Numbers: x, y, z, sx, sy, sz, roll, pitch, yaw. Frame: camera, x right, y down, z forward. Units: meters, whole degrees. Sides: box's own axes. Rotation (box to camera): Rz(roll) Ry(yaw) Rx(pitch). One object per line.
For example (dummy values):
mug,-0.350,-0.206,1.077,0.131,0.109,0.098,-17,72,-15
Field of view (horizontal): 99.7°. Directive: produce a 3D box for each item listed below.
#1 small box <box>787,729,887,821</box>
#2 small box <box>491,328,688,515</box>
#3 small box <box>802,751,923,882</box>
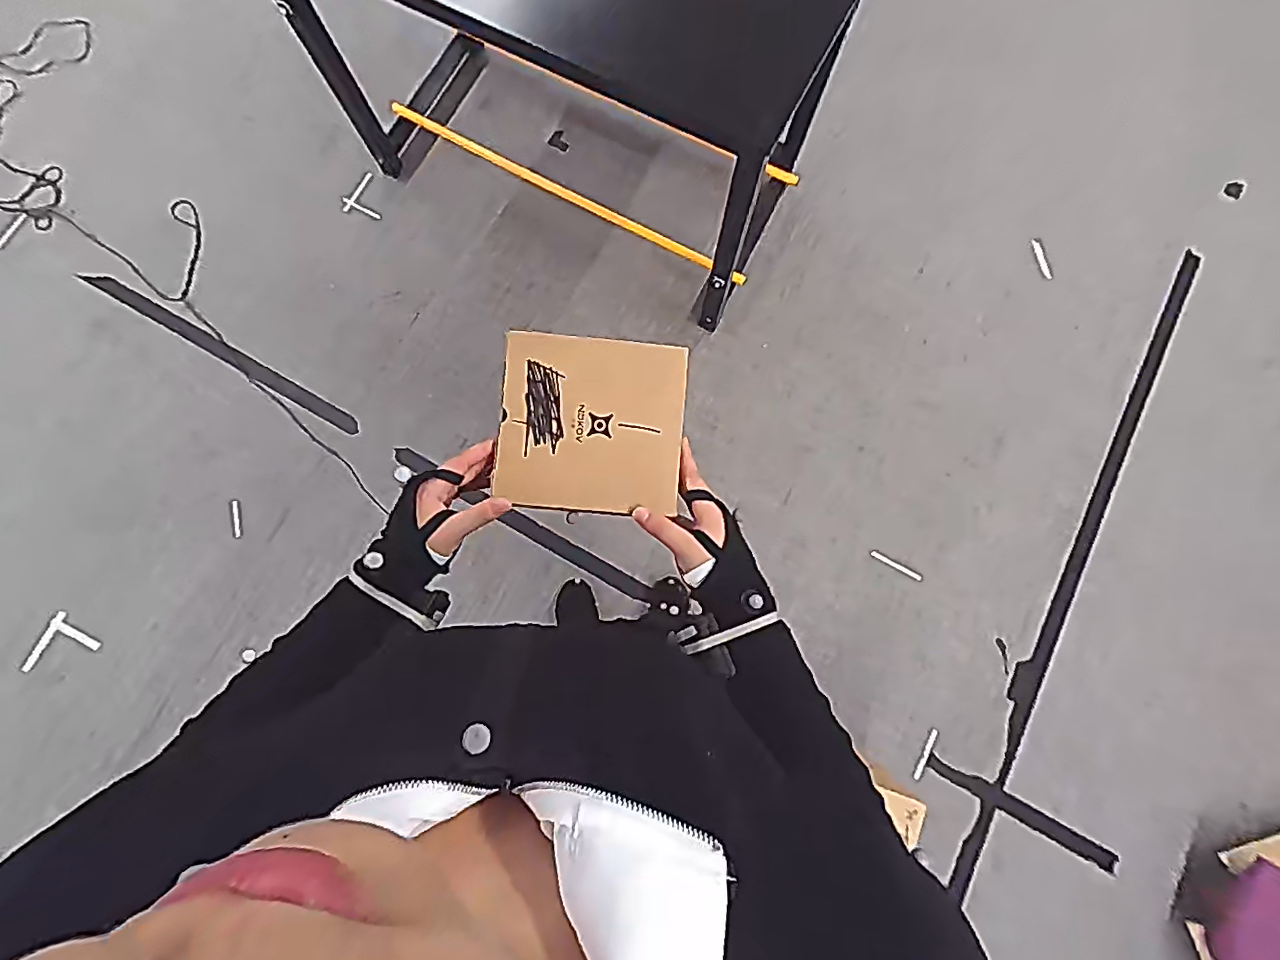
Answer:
small box,0.481,0.753,1.342,0.168,0.176,0.179,22,81,4
small box,-0.050,-0.051,0.588,0.179,0.176,0.168,5,86,-3
small box,0.475,0.719,1.182,0.179,0.176,0.168,21,81,4
